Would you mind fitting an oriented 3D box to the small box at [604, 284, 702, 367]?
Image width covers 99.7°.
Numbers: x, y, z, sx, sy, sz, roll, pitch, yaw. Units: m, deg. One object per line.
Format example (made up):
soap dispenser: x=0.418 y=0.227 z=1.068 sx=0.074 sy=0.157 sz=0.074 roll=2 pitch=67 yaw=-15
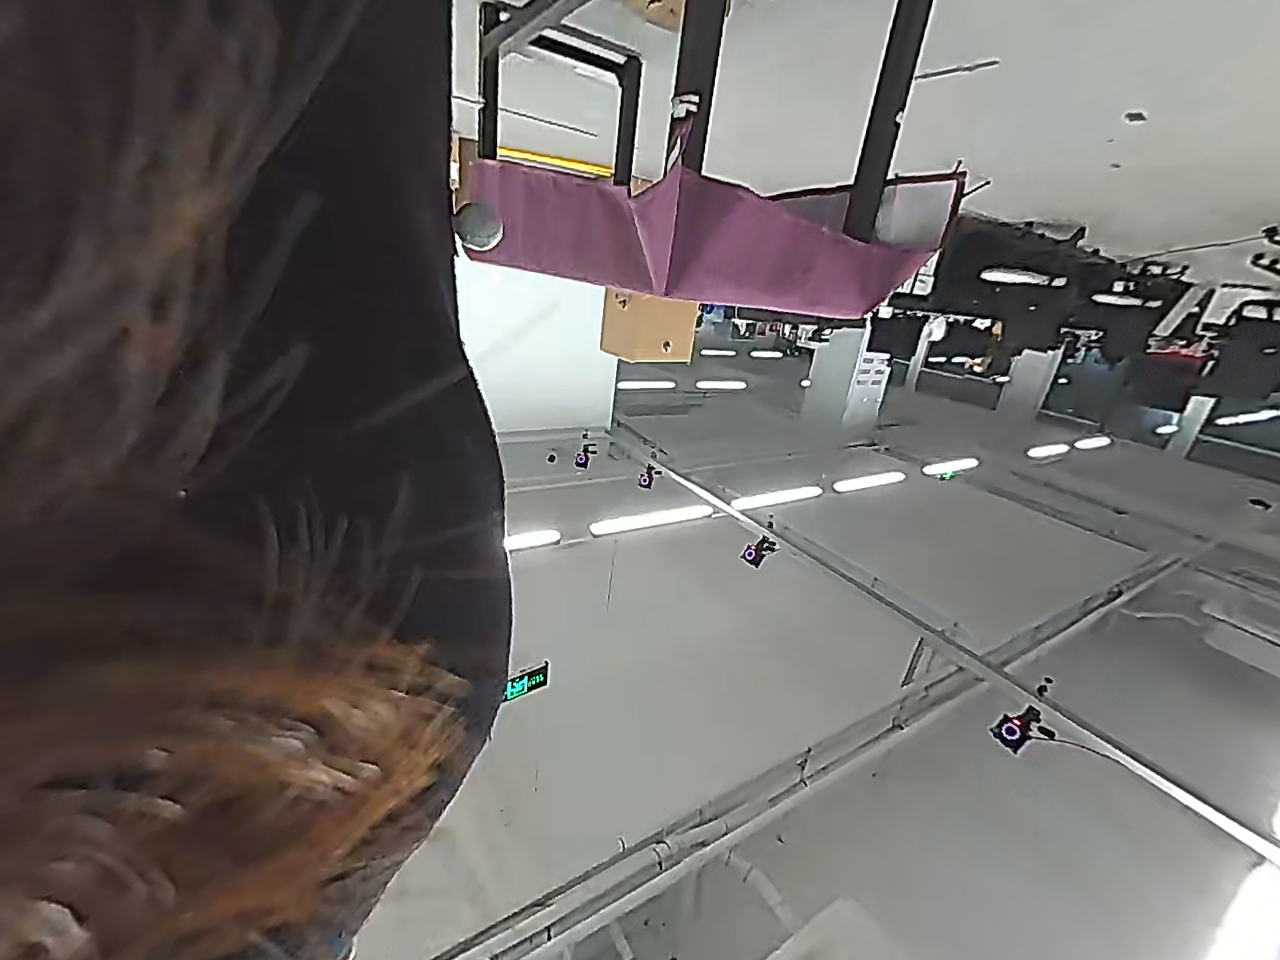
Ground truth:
small box: x=0.031 y=-0.380 z=1.327 sx=0.179 sy=0.176 sz=0.168 roll=-7 pitch=-154 yaw=-33
